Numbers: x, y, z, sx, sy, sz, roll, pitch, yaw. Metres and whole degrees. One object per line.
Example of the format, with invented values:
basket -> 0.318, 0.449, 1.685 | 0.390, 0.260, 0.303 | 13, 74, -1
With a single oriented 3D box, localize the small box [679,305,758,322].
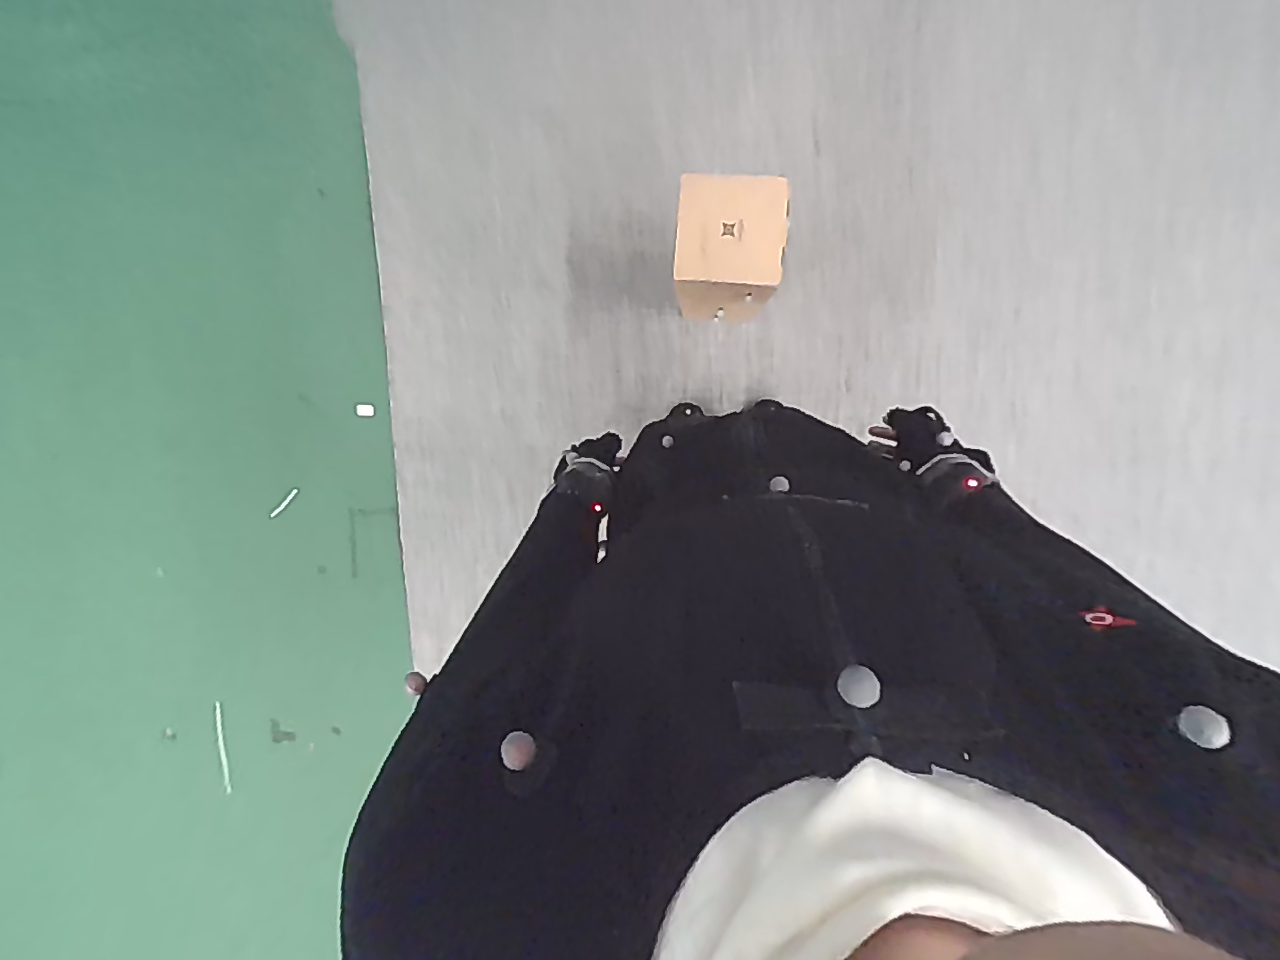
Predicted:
small box -> 0.188, -0.467, 1.265 | 0.179, 0.176, 0.168 | 5, 99, 7

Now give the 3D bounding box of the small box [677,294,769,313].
small box -> 0.170, -0.439, 1.108 | 0.179, 0.176, 0.168 | 3, 101, 7

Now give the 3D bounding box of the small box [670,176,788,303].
small box -> 0.151, -0.410, 0.947 | 0.179, 0.176, 0.168 | 5, 99, 7
